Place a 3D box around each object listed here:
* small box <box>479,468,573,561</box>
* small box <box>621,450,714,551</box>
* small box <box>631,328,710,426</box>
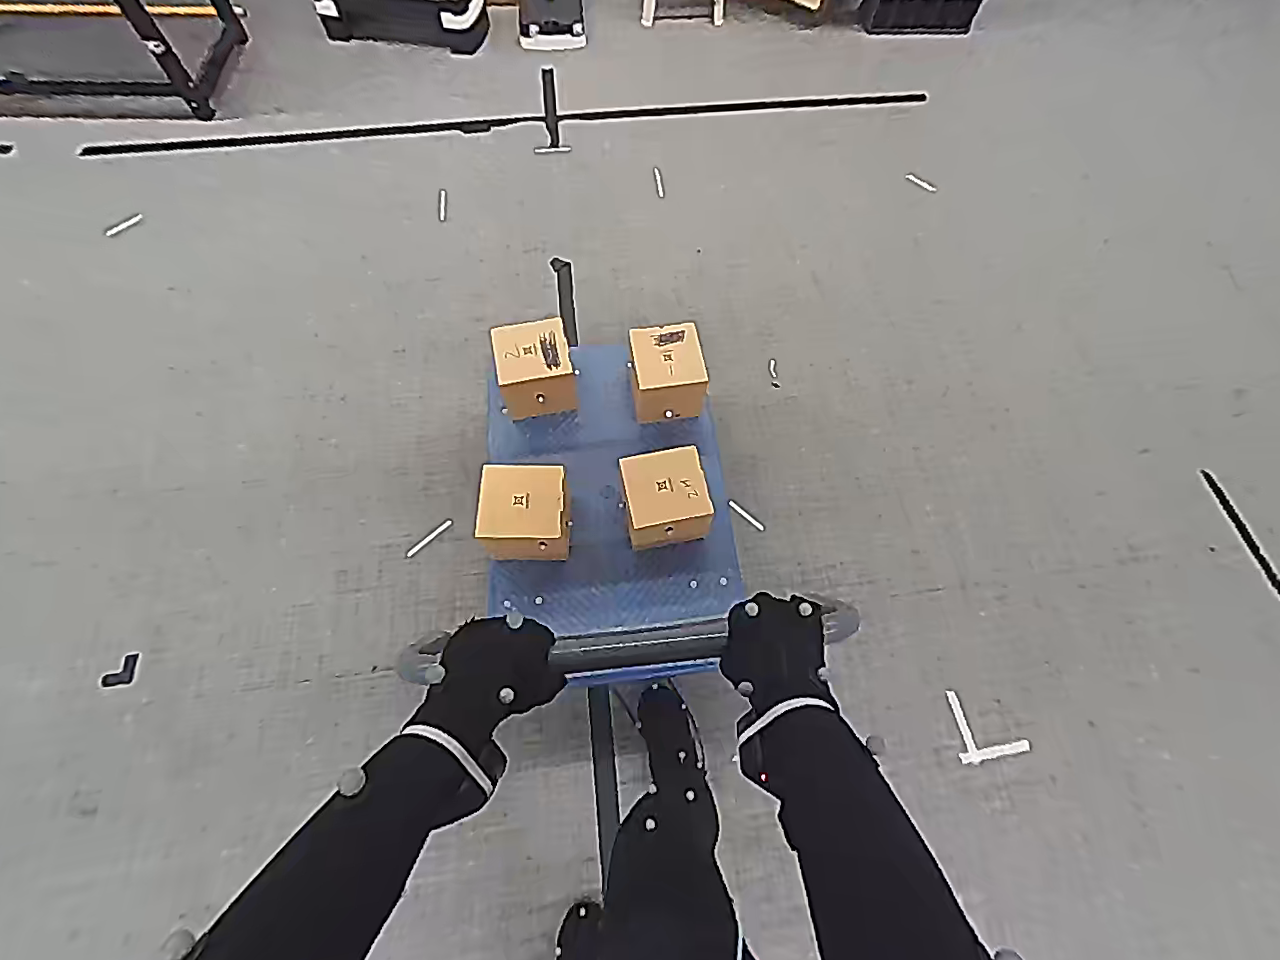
[{"bbox_3d":[-0.247,0.082,1.210,0.179,0.176,0.168,1,66,-3],"label":"small box"},{"bbox_3d":[0.058,0.053,1.232,0.179,0.176,0.168,-10,68,-6],"label":"small box"},{"bbox_3d":[0.070,-0.257,1.366,0.168,0.176,0.179,-8,68,-5],"label":"small box"}]
